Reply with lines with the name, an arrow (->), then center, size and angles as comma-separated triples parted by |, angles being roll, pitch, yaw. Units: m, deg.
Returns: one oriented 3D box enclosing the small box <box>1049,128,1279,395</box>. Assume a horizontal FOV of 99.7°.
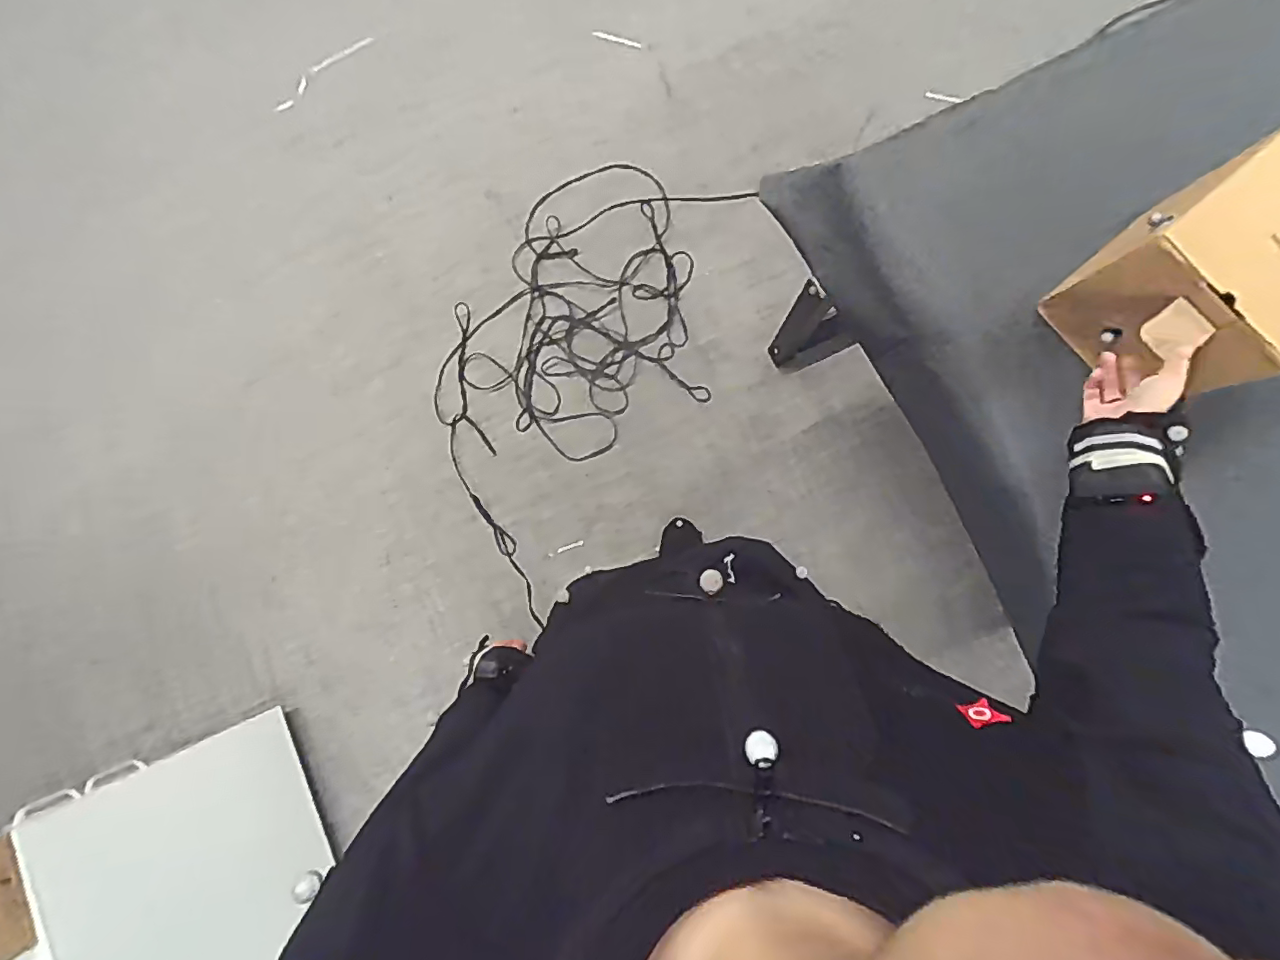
small box -> 0.589, -0.215, 0.558 | 0.179, 0.176, 0.168 | -41, 86, 0
